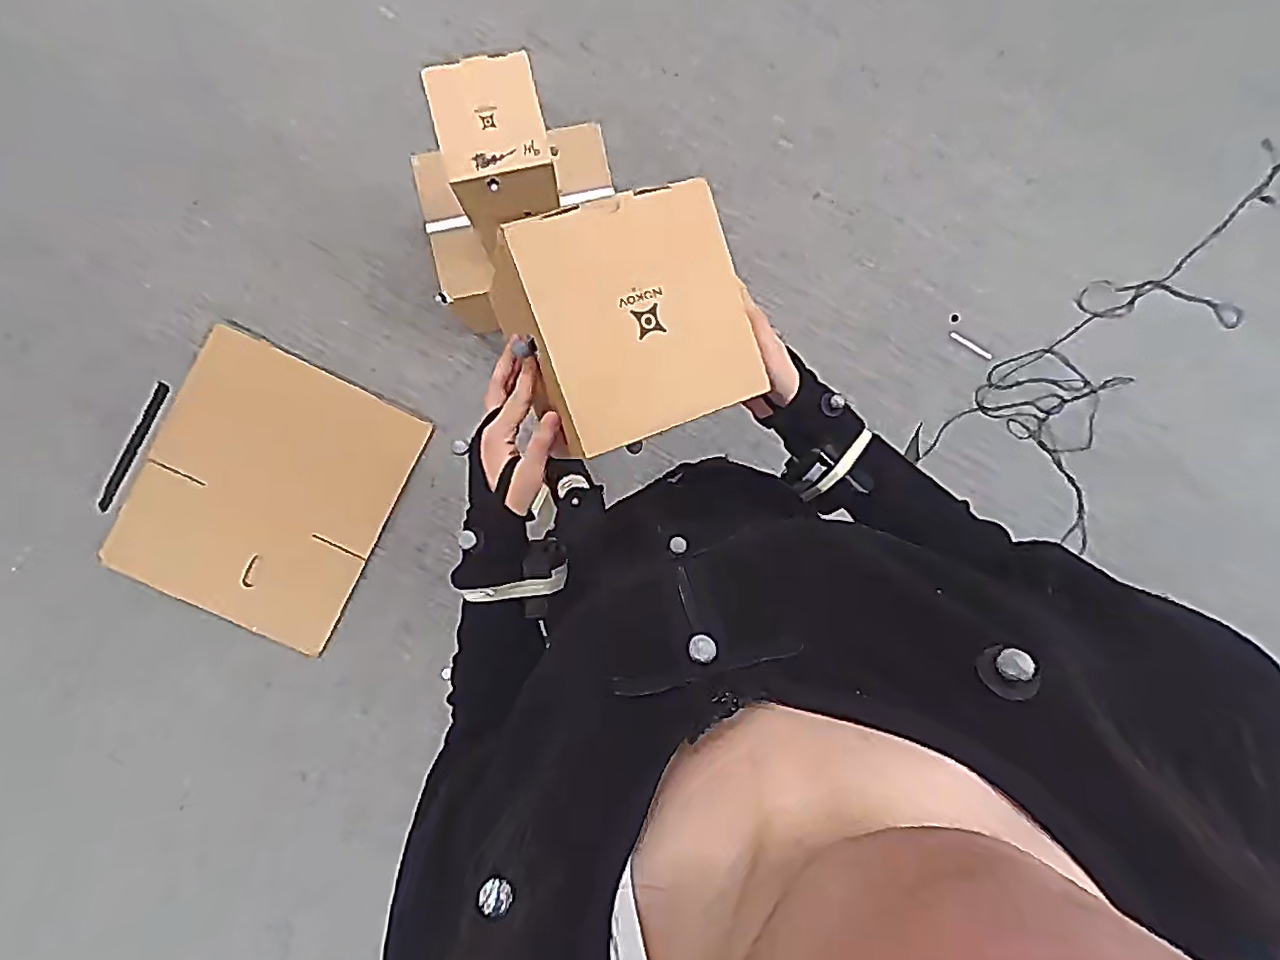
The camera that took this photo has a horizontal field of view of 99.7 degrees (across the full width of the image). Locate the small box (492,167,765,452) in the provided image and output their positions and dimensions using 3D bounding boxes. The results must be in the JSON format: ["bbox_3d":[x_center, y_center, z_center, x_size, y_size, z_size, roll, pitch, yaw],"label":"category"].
[{"bbox_3d":[-0.022,-0.132,0.478,0.168,0.176,0.179,-22,98,-15],"label":"small box"}]

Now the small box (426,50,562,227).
[{"bbox_3d":[-0.232,-0.556,0.901,0.168,0.176,0.179,-14,92,-3],"label":"small box"}]
